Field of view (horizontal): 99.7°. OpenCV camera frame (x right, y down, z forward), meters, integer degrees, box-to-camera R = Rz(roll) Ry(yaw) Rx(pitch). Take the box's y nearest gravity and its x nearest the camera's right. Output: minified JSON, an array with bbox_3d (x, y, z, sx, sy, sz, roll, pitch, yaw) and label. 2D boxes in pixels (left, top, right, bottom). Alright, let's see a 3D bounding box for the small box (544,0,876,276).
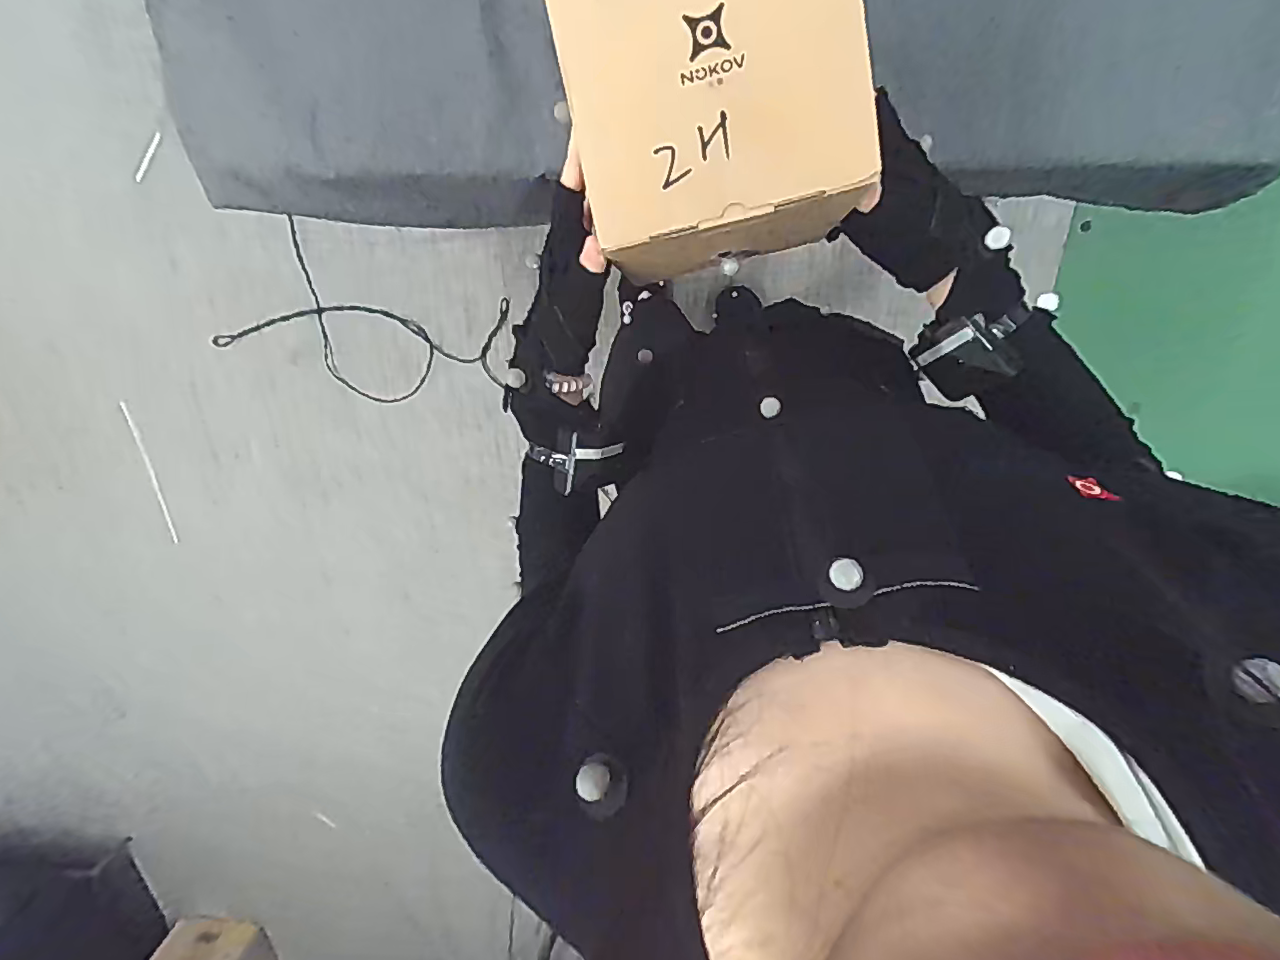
[{"bbox_3d":[0.044,-0.256,0.370,0.168,0.176,0.179,-10,102,10],"label":"small box"}]
